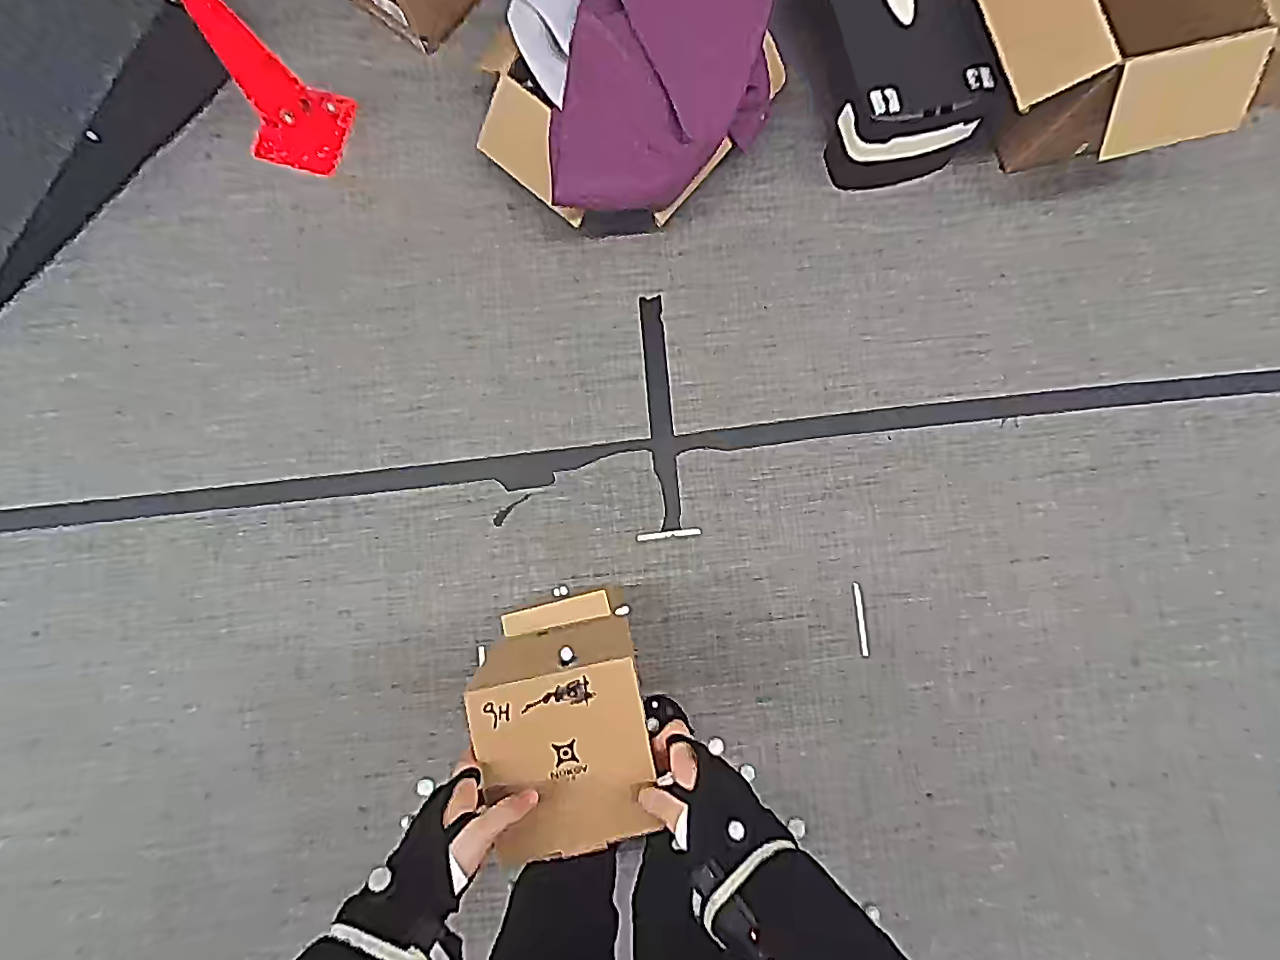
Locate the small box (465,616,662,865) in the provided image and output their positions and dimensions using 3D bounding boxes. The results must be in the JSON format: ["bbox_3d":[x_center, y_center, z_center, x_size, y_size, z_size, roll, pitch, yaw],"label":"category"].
[{"bbox_3d":[-0.076,0.270,0.601,0.168,0.176,0.179,-12,91,-4],"label":"small box"}]

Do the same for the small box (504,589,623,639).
[{"bbox_3d":[-0.109,0.282,0.886,0.168,0.176,0.179,-14,83,0],"label":"small box"}]
